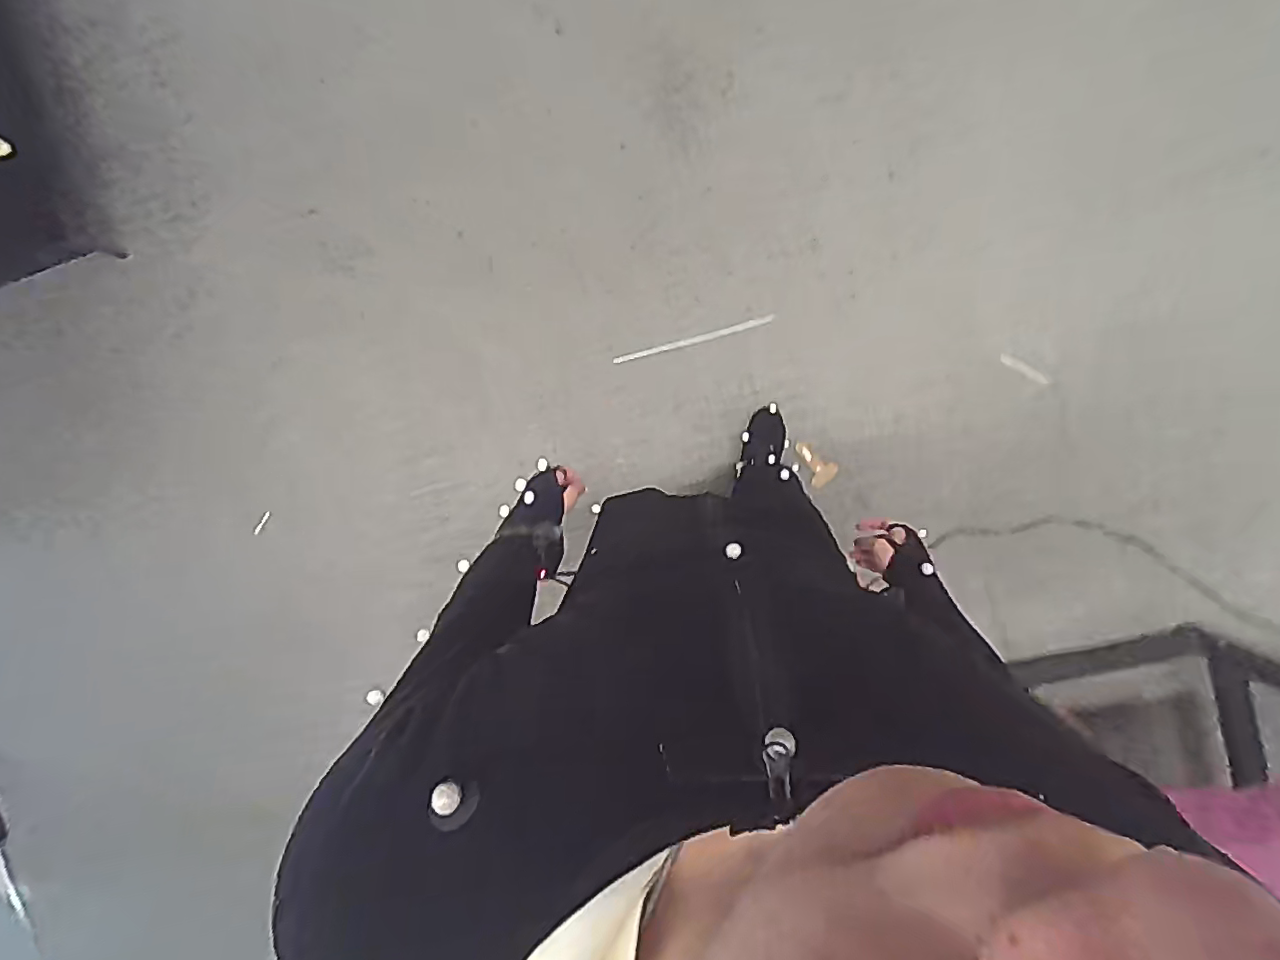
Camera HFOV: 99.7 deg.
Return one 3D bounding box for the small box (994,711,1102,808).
[{"bbox_3d":[1.100,0.750,1.474,0.168,0.176,0.179,-11,93,8],"label":"small box"}]
